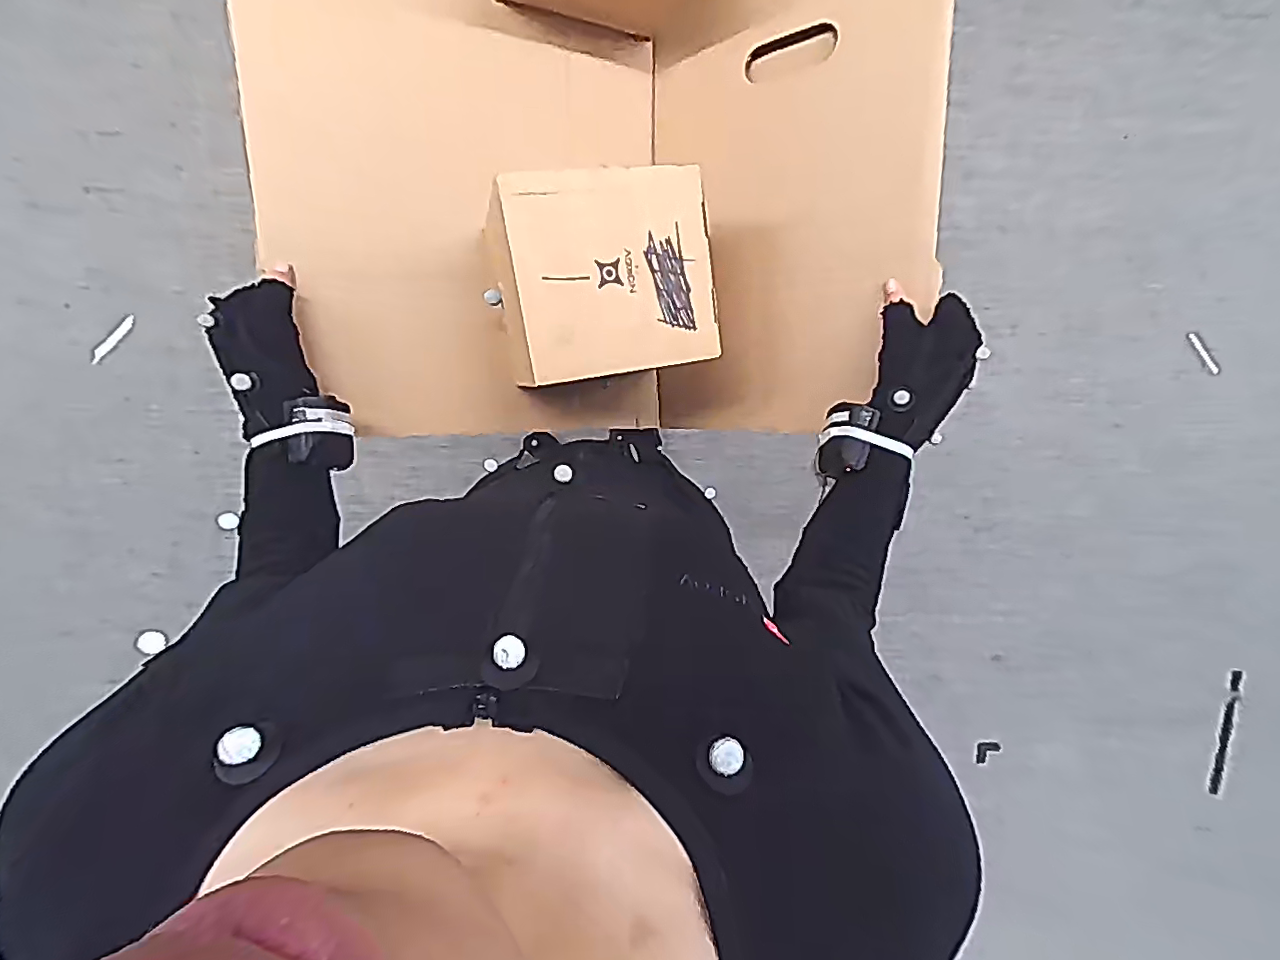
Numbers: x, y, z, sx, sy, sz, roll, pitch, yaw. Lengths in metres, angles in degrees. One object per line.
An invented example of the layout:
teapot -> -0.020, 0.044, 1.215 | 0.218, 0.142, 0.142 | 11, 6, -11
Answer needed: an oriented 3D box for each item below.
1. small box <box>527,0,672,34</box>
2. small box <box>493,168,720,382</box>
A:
small box -> -0.035, -0.548, 0.479 | 0.179, 0.176, 0.168 | 0, 100, -19
small box -> -0.041, -0.194, 0.542 | 0.179, 0.176, 0.168 | -12, 103, -16
